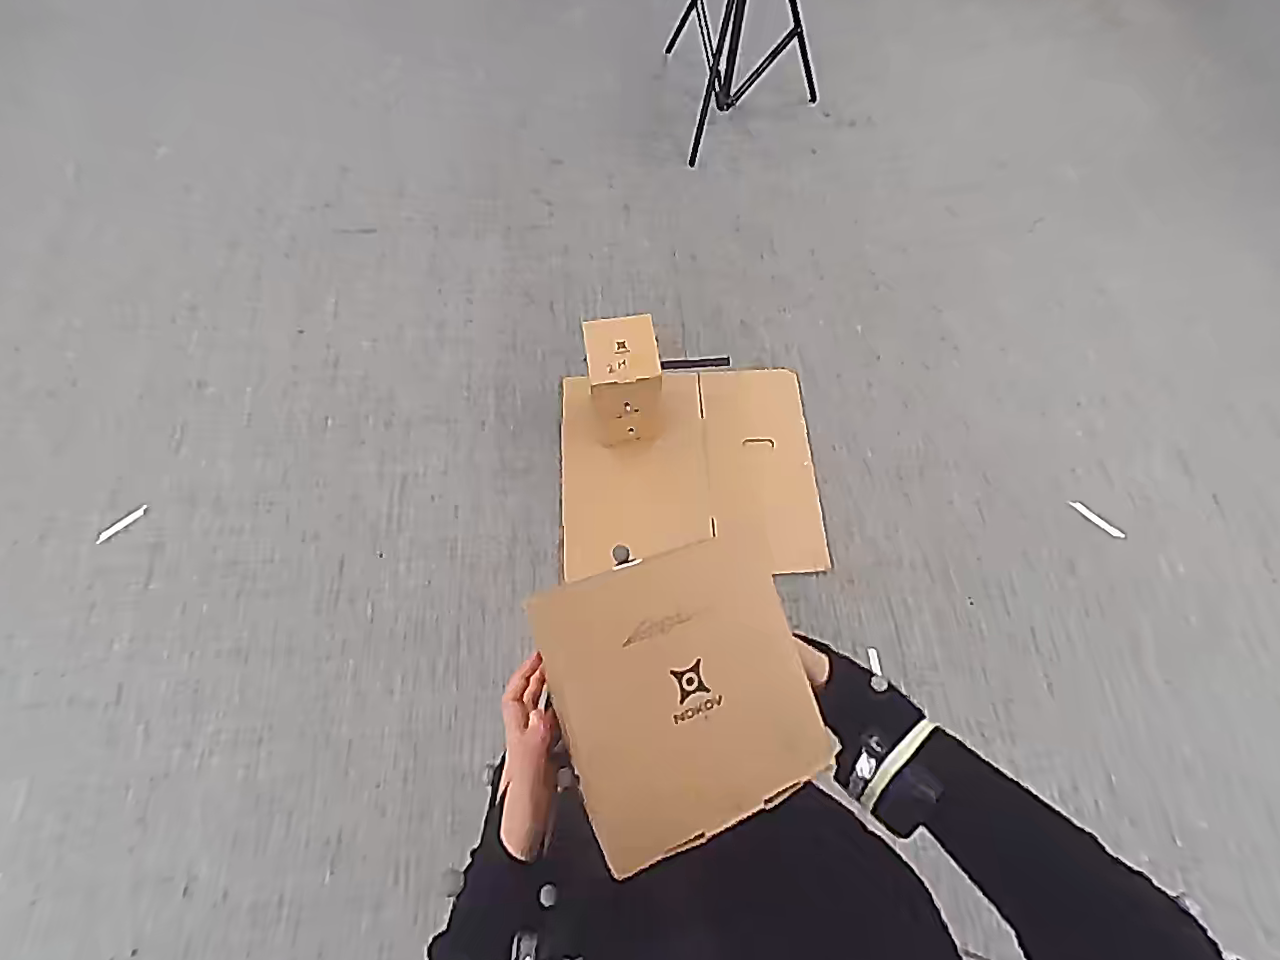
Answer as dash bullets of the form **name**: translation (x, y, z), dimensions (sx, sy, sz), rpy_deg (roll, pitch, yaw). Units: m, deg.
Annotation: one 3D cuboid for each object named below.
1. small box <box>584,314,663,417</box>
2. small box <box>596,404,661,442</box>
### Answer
- **small box**: translation (-0.042, -0.274, 1.313), dimensions (0.168, 0.176, 0.179), rpy_deg (-8, 70, -3)
- **small box**: translation (-0.040, -0.215, 1.467), dimensions (0.168, 0.176, 0.179), rpy_deg (-9, 71, -5)
